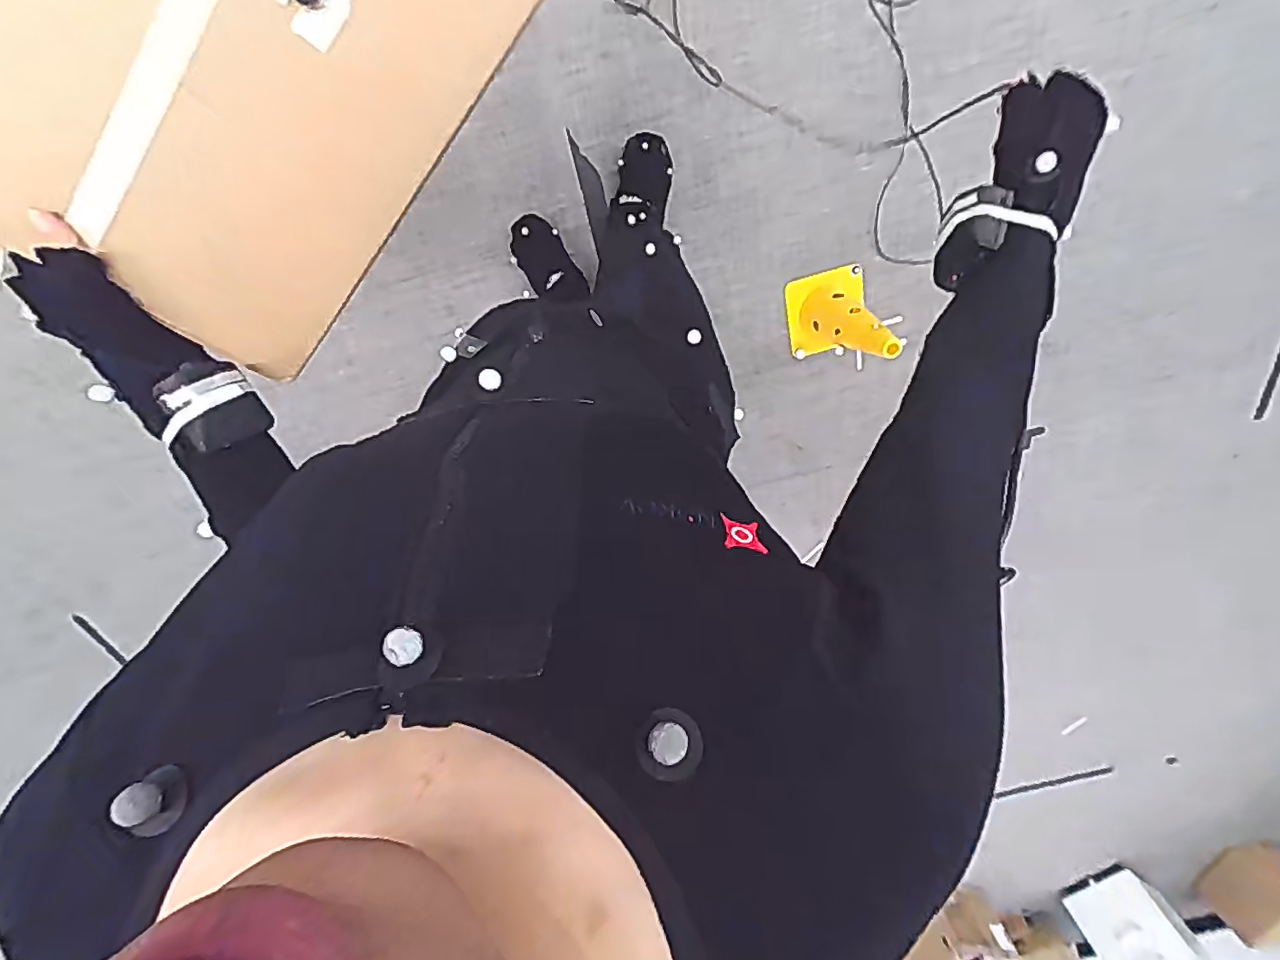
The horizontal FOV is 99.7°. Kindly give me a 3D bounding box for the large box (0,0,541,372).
[{"bbox_3d":[-0.326,-0.381,0.472,0.320,0.320,0.408,33,107,-33],"label":"large box"}]

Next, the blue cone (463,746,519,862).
[{"bbox_3d":[-0.584,1.219,2.028,0.192,0.380,0.193,-11,119,2],"label":"blue cone"}]
